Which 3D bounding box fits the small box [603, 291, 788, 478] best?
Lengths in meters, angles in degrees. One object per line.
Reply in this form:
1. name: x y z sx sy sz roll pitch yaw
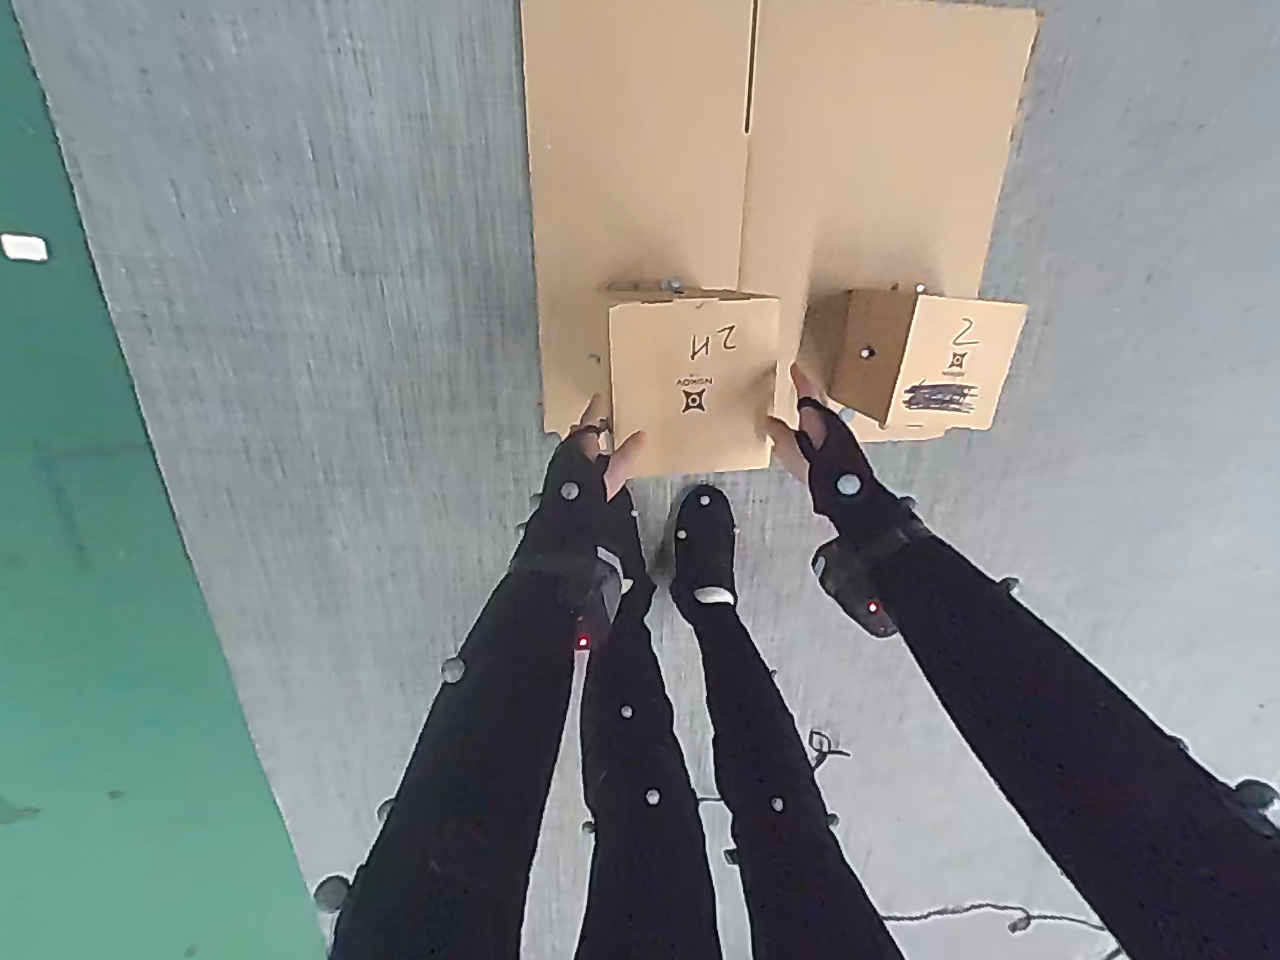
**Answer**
1. small box: 0.048 -0.114 0.602 0.168 0.176 0.179 -3 111 -7
